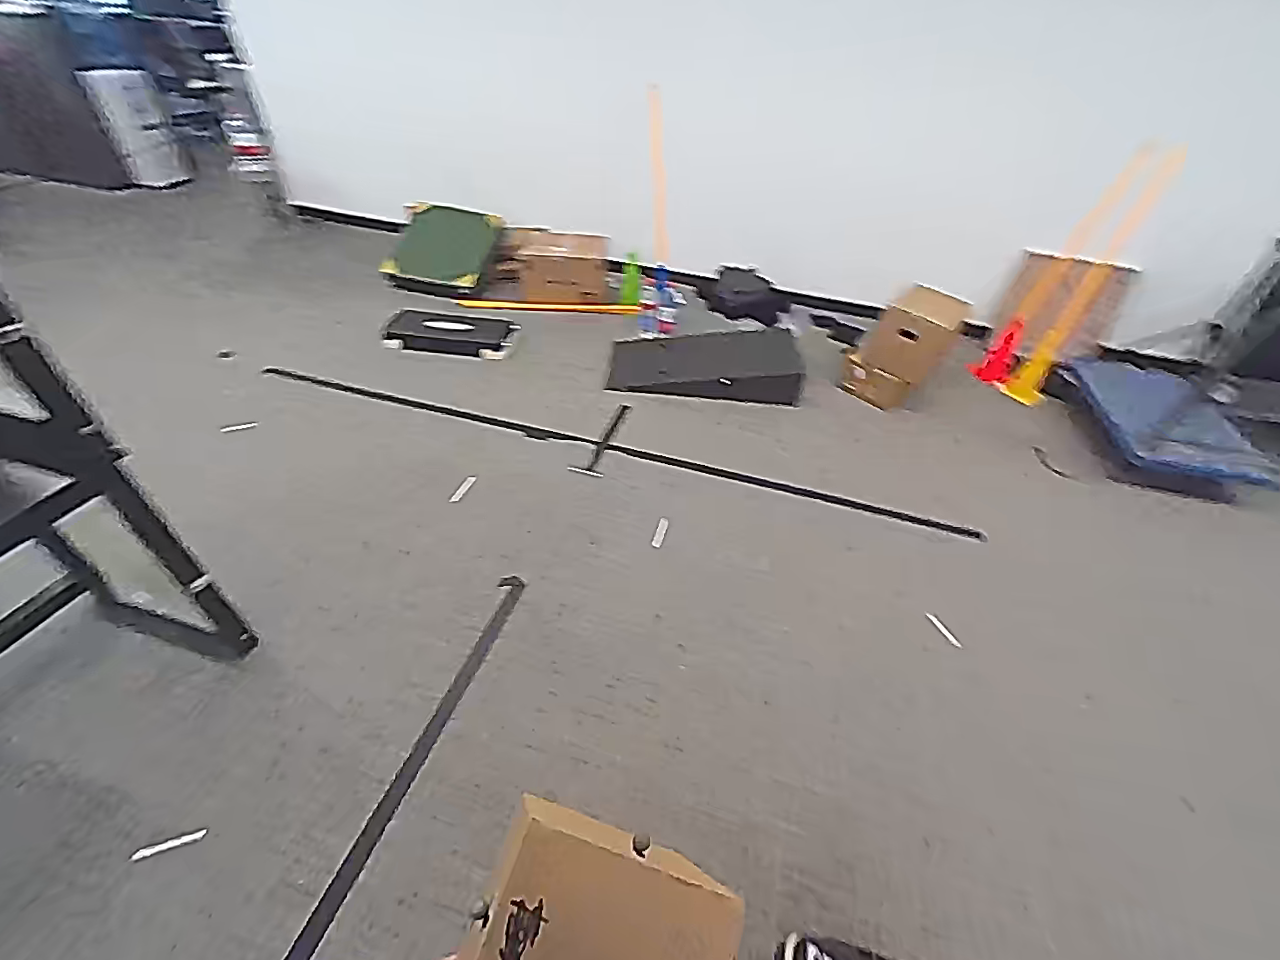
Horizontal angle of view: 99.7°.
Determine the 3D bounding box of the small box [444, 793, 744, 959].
[{"bbox_3d":[-0.048,0.364,0.422,0.179,0.176,0.168,23,62,-4],"label":"small box"}]
